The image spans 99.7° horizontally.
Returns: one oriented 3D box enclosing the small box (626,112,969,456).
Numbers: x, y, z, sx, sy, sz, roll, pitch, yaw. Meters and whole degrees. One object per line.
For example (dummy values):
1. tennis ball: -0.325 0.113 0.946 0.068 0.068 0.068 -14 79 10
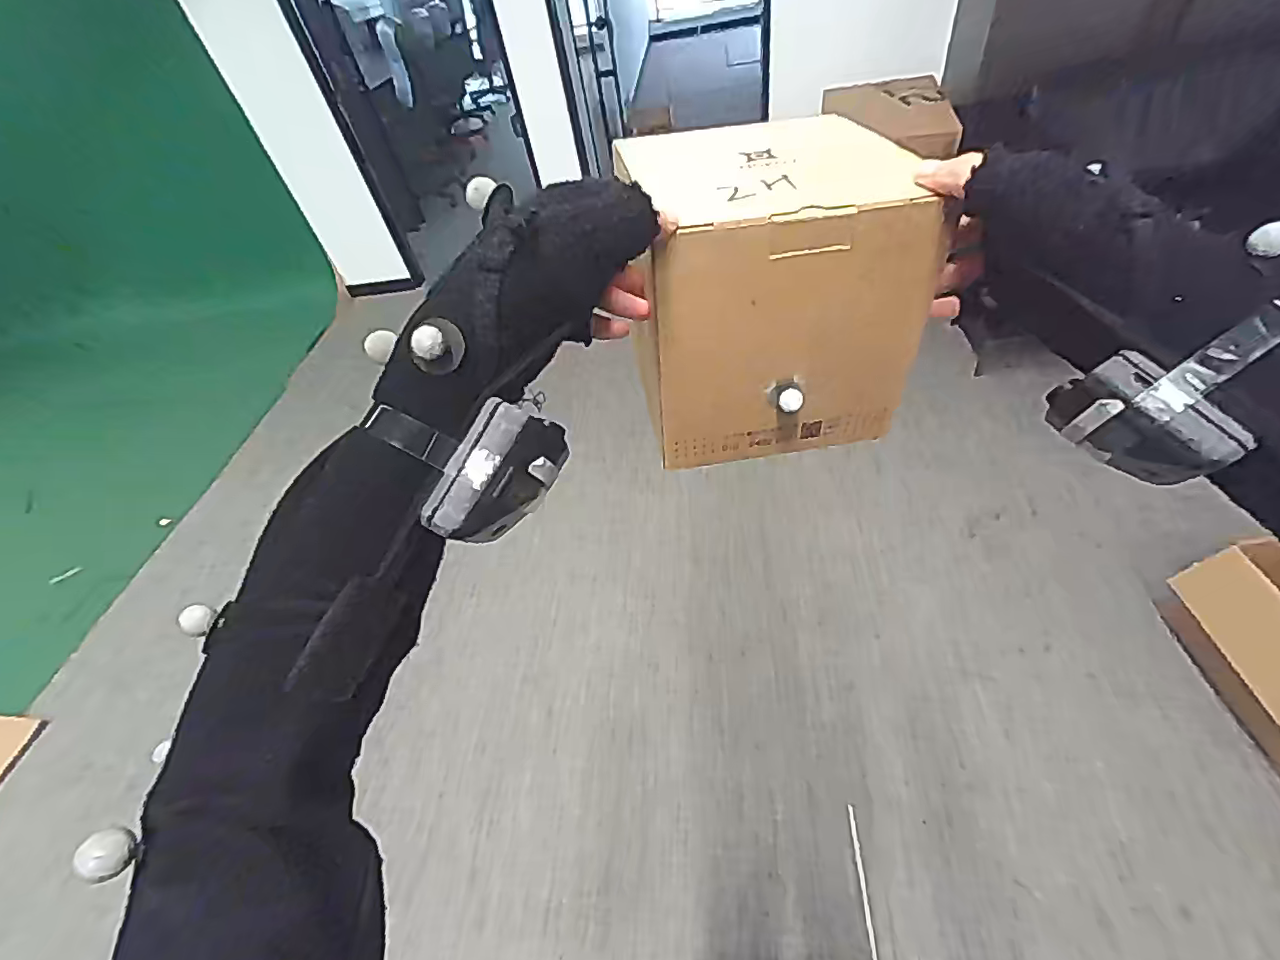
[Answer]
1. small box: 0.084 -0.141 0.388 0.168 0.176 0.179 -8 46 -2
